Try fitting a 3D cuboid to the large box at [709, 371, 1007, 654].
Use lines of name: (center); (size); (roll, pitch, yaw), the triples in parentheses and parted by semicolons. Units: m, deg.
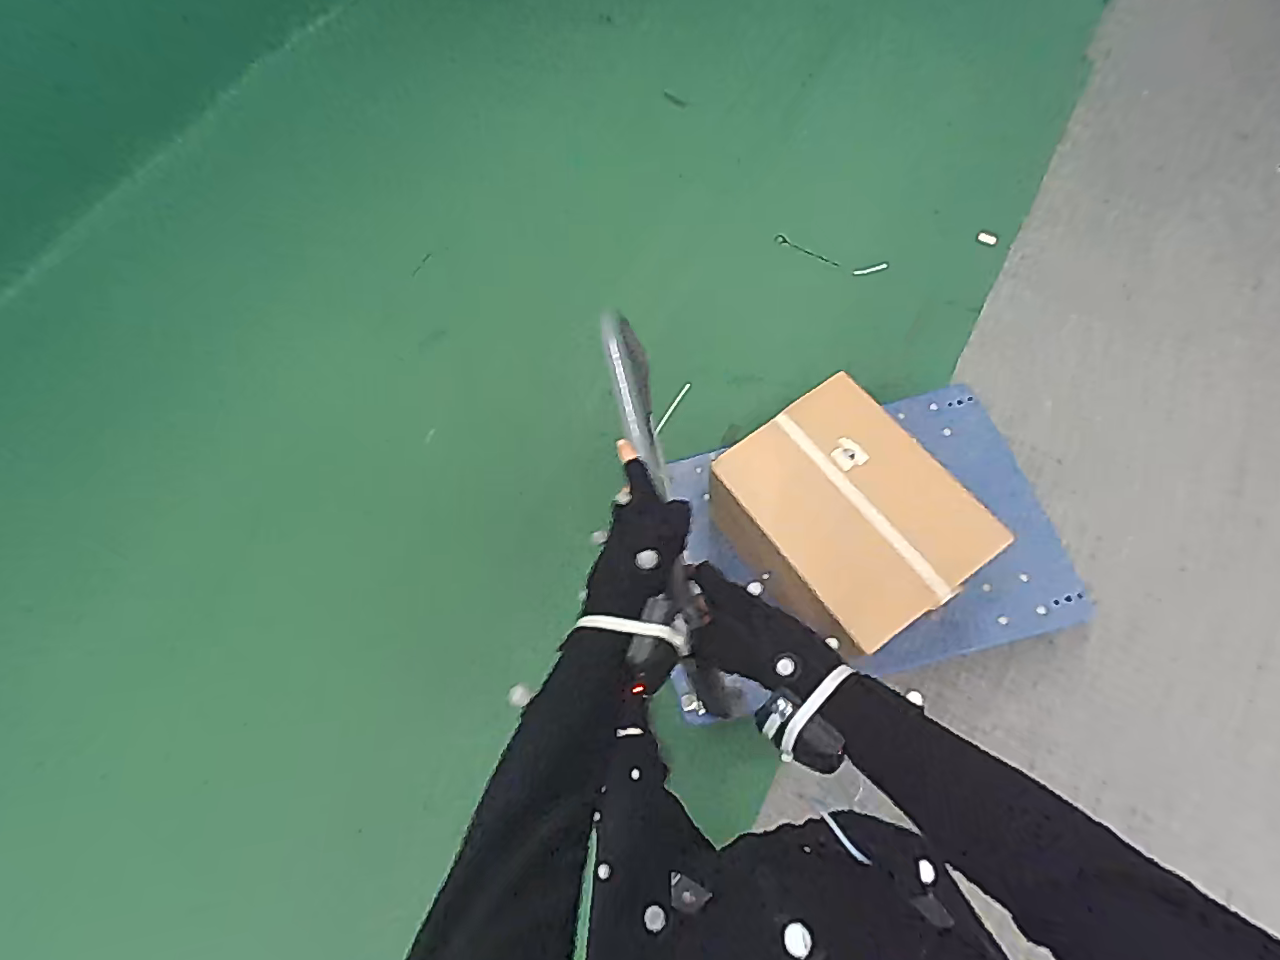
large box: (0.380, 0.078, 1.061); (0.320, 0.320, 0.408); (-34, 68, -7)
